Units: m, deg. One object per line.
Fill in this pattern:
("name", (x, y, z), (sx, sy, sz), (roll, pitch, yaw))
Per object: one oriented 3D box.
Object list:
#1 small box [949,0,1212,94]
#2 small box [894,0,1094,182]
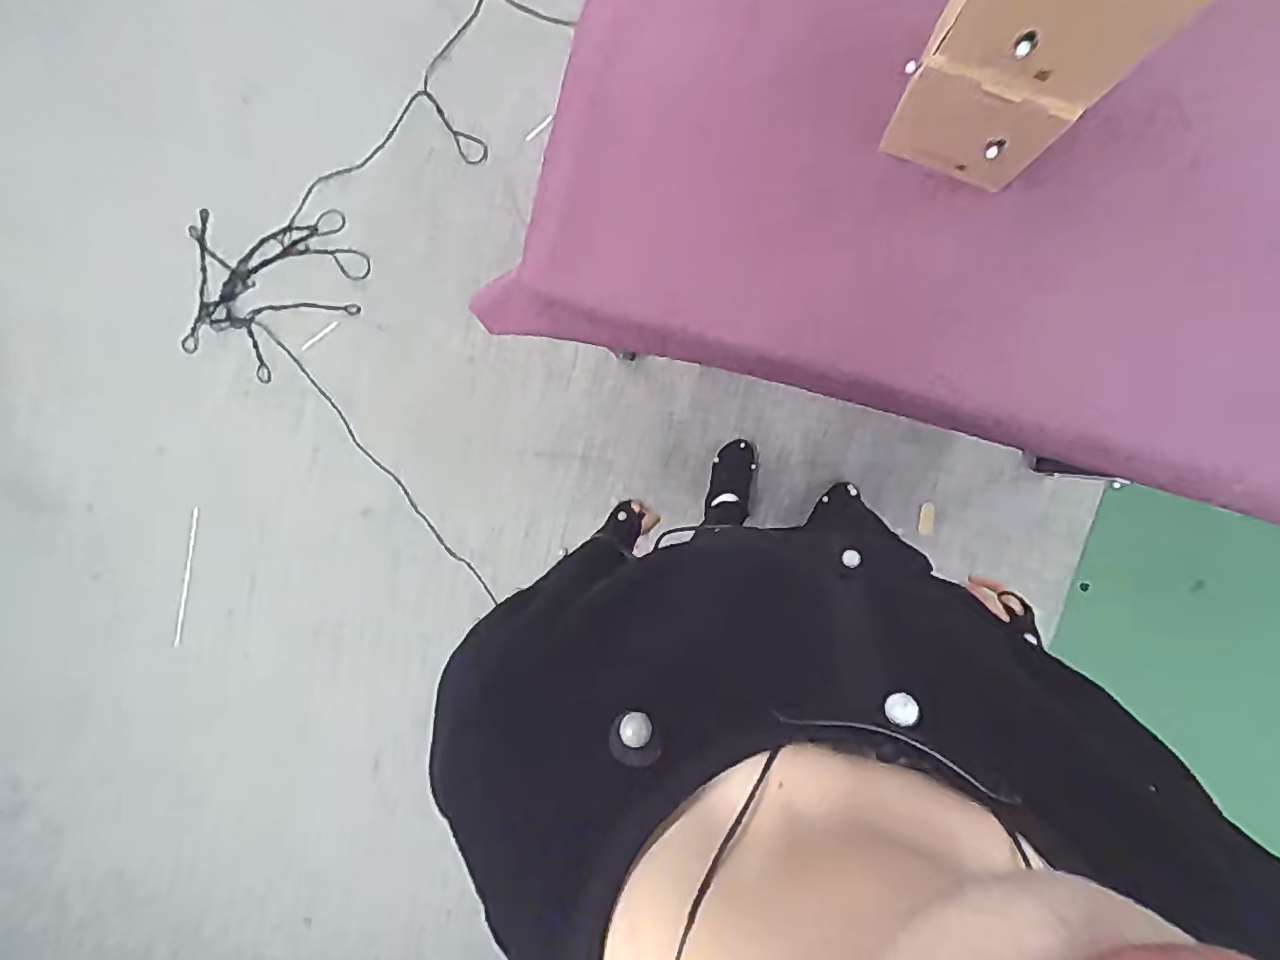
("small box", (0.401, -0.482, 0.456), (0.168, 0.176, 0.179), (22, 98, 4))
("small box", (0.419, -0.483, 0.617), (0.168, 0.176, 0.179), (26, 97, 5))
